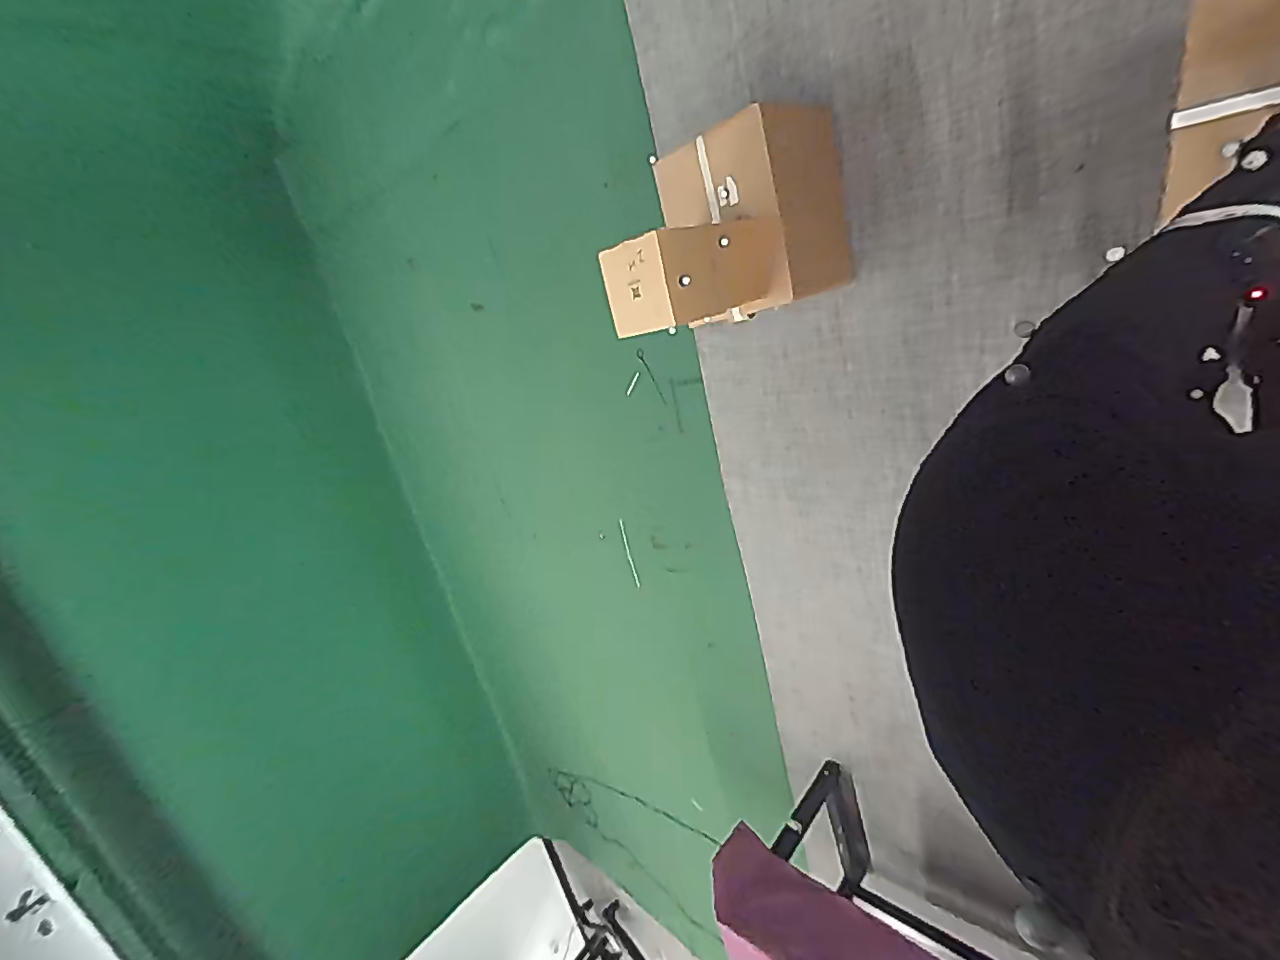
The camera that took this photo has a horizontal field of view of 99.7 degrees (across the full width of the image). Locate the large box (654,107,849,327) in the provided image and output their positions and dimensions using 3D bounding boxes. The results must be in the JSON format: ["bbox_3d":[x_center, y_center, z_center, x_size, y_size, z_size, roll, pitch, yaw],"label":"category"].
[{"bbox_3d":[0.289,-0.634,1.357,0.320,0.320,0.408,2,112,46],"label":"large box"}]

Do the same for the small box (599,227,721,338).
[{"bbox_3d":[0.048,-0.403,1.105,0.168,0.176,0.179,4,114,45],"label":"small box"}]

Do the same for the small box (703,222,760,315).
[{"bbox_3d":[0.153,-0.464,1.216,0.168,0.176,0.179,4,114,45],"label":"small box"}]
